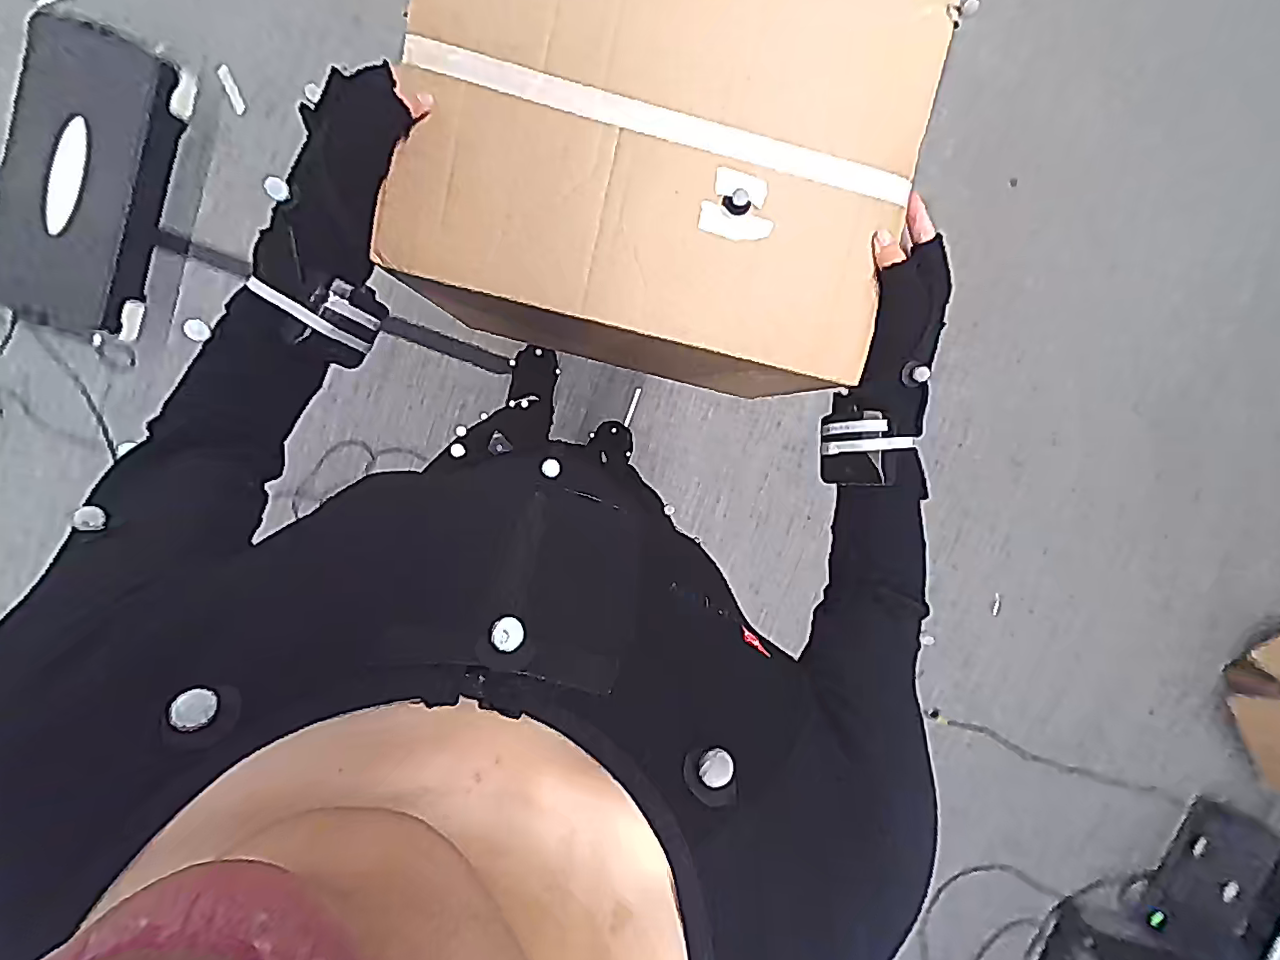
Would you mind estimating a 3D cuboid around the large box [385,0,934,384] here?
[{"bbox_3d":[0.005,-0.302,0.581,0.408,0.320,0.320,12,96,-6],"label":"large box"}]
